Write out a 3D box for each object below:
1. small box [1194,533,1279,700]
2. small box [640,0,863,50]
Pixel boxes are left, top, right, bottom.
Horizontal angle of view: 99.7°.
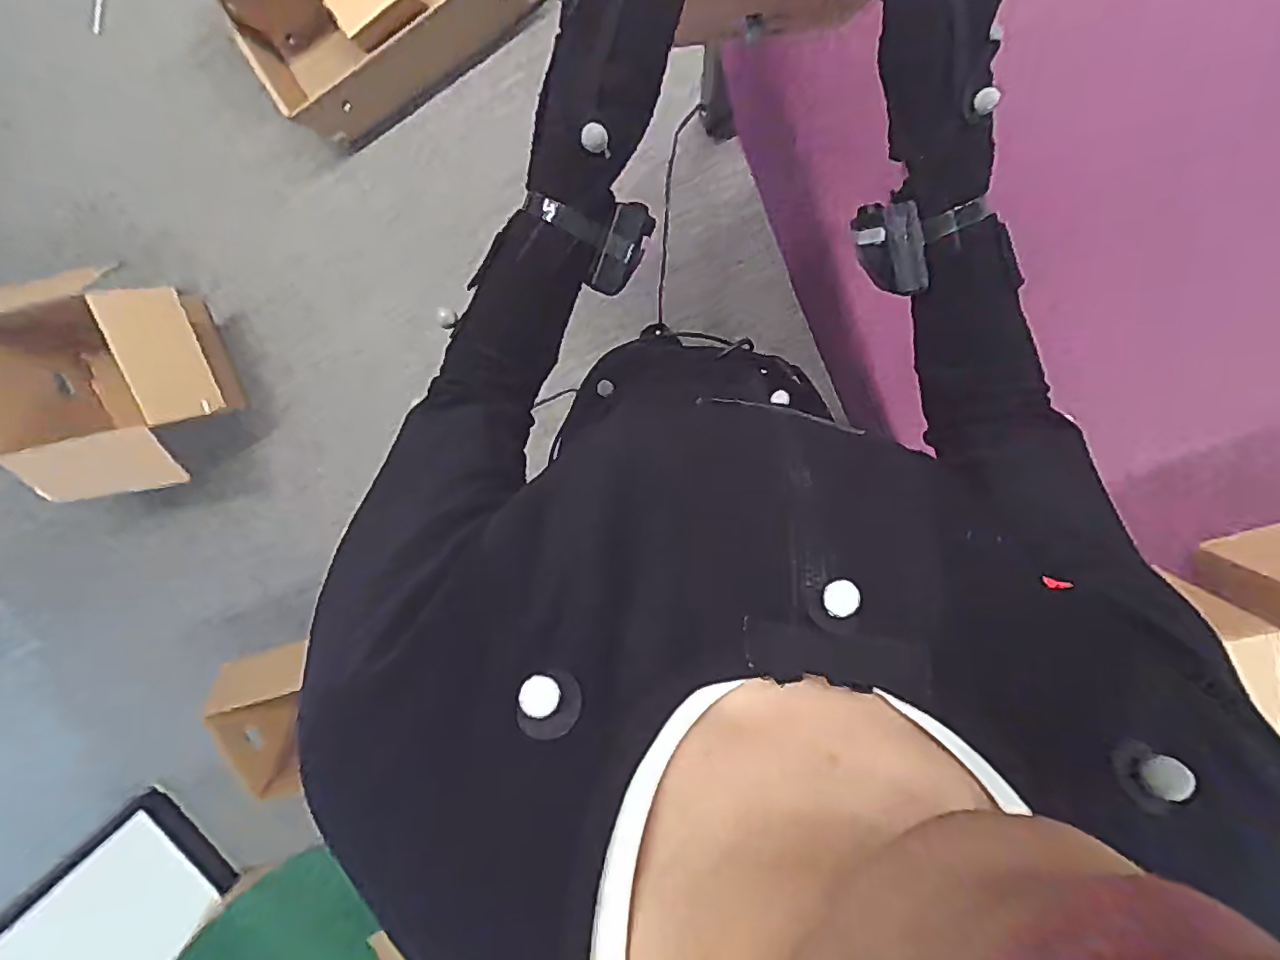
[{"bbox_3d":[0.823,0.162,0.634,0.179,0.176,0.168,-17,104,9],"label":"small box"},{"bbox_3d":[0.076,-0.413,0.347,0.168,0.176,0.179,-3,115,3],"label":"small box"}]
